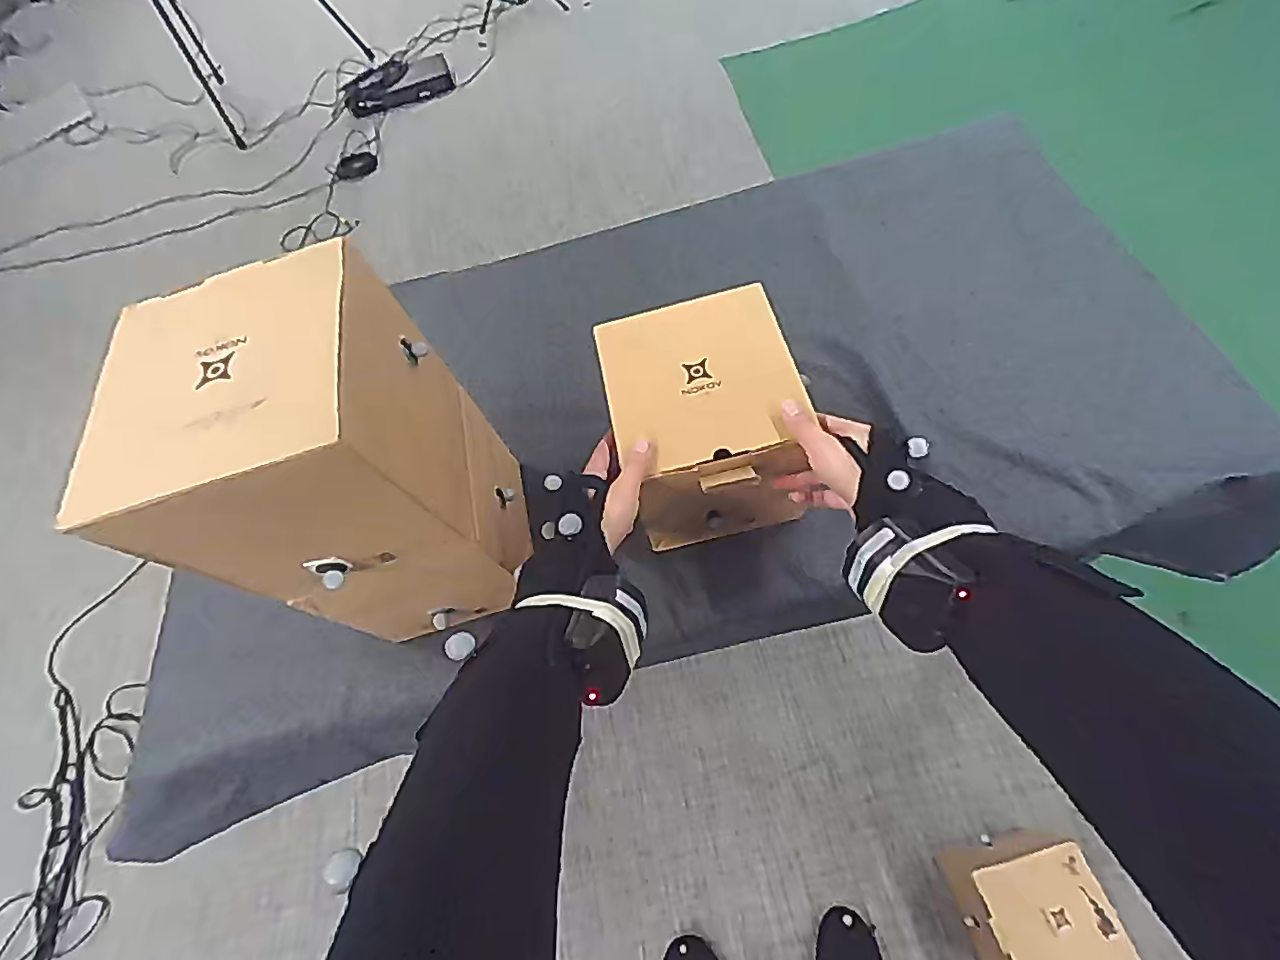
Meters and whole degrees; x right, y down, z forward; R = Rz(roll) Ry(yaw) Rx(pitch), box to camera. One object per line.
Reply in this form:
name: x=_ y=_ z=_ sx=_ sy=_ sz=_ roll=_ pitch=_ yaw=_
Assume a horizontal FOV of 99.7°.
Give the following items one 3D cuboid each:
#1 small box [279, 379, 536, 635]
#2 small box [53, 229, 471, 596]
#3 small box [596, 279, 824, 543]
small box: x=-0.215 y=0.035 z=0.537 sx=0.168 sy=0.176 sz=0.179 roll=-17 pitch=62 yaw=1
small box: x=-0.241 y=-0.036 z=0.393 sx=0.168 sy=0.176 sz=0.179 roll=-18 pitch=63 yaw=2
small box: x=0.062 y=-0.059 z=0.537 sx=0.168 sy=0.176 sz=0.179 roll=-14 pitch=63 yaw=3
